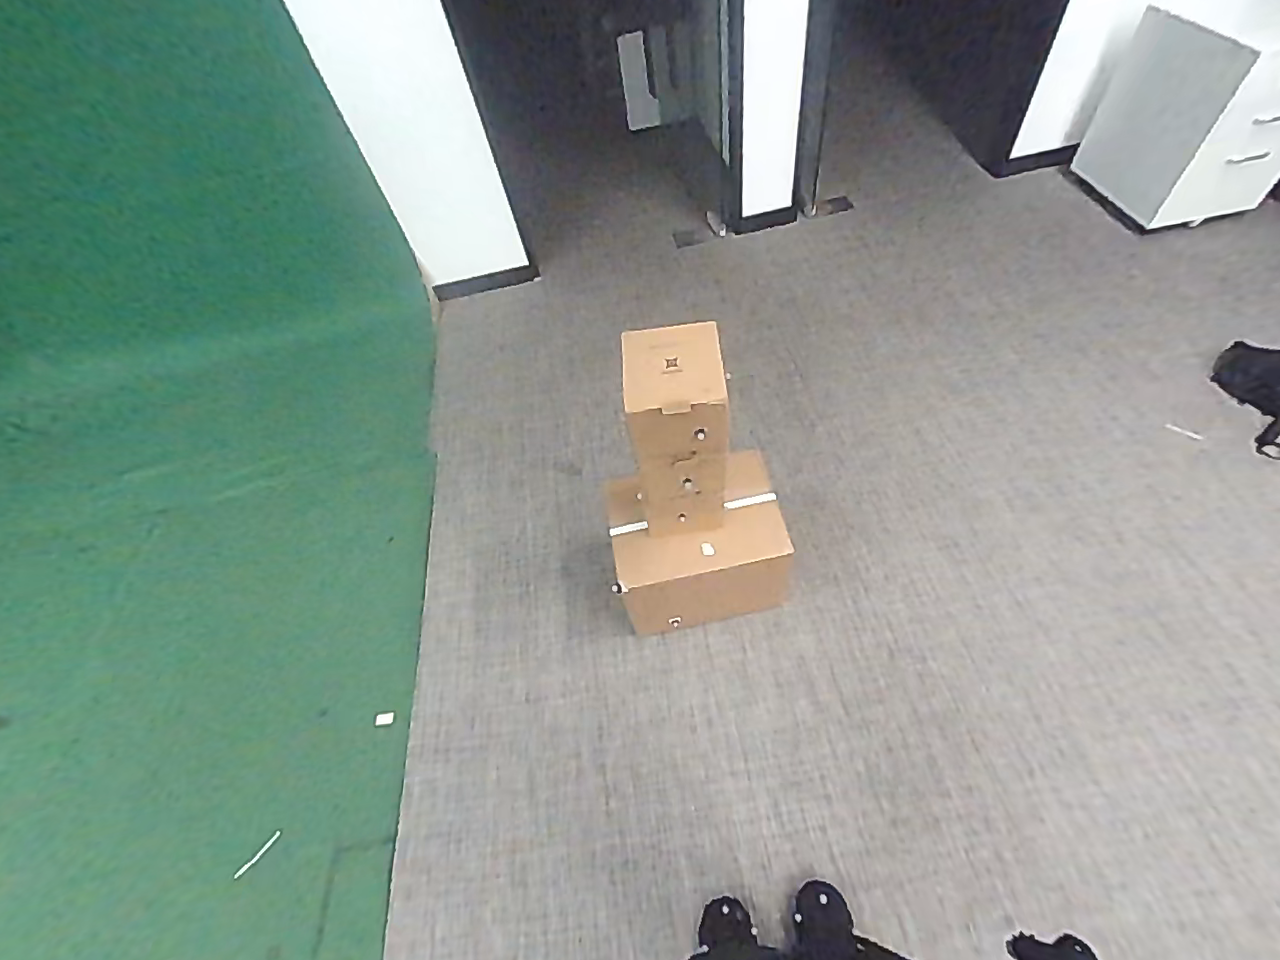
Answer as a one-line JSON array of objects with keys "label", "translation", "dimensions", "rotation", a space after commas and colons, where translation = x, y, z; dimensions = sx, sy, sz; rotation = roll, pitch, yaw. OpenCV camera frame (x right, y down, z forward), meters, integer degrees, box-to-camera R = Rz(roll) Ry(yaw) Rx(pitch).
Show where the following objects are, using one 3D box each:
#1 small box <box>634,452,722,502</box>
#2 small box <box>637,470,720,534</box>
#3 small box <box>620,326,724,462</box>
[{"label": "small box", "translation": [0.071, -0.069, 1.108], "dimensions": [0.168, 0.176, 0.179], "rotation": [-12, 60, 1]}, {"label": "small box", "translation": [0.087, 0.013, 1.246], "dimensions": [0.179, 0.176, 0.168], "rotation": [-6, 58, 5]}, {"label": "small box", "translation": [0.058, -0.144, 0.964], "dimensions": [0.168, 0.176, 0.179], "rotation": [-6, 59, 3]}]
